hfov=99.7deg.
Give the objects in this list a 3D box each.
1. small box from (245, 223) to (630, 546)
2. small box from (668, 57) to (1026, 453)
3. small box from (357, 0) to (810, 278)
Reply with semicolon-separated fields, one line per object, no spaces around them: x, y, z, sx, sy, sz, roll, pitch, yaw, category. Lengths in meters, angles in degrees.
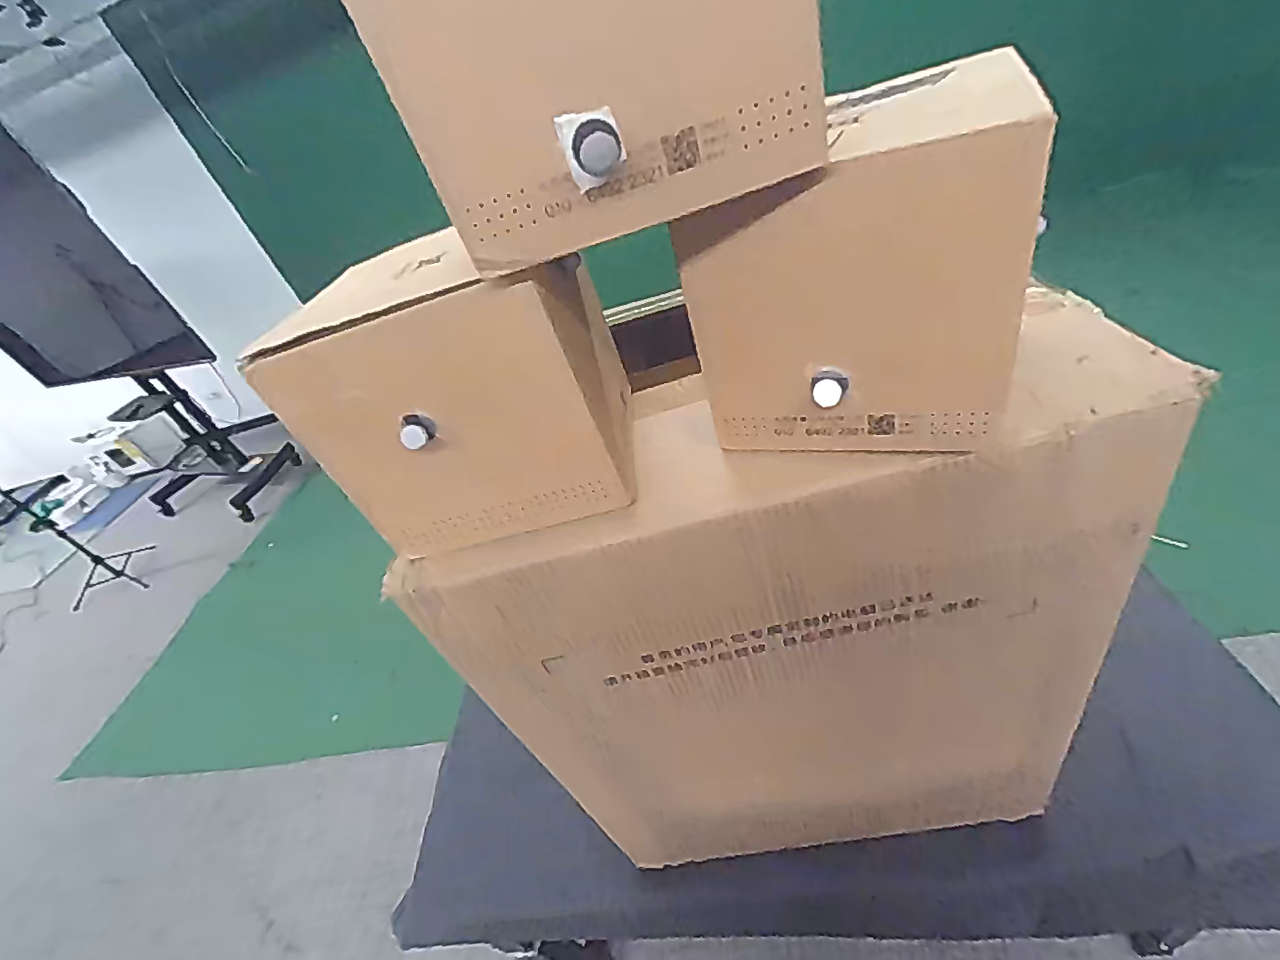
-0.117;-0.074;0.395;0.179;0.176;0.168;-15;39;10;small box
0.132;-0.138;0.352;0.168;0.176;0.179;2;44;27;small box
-0.027;-0.225;0.268;0.168;0.176;0.179;-17;39;8;small box
